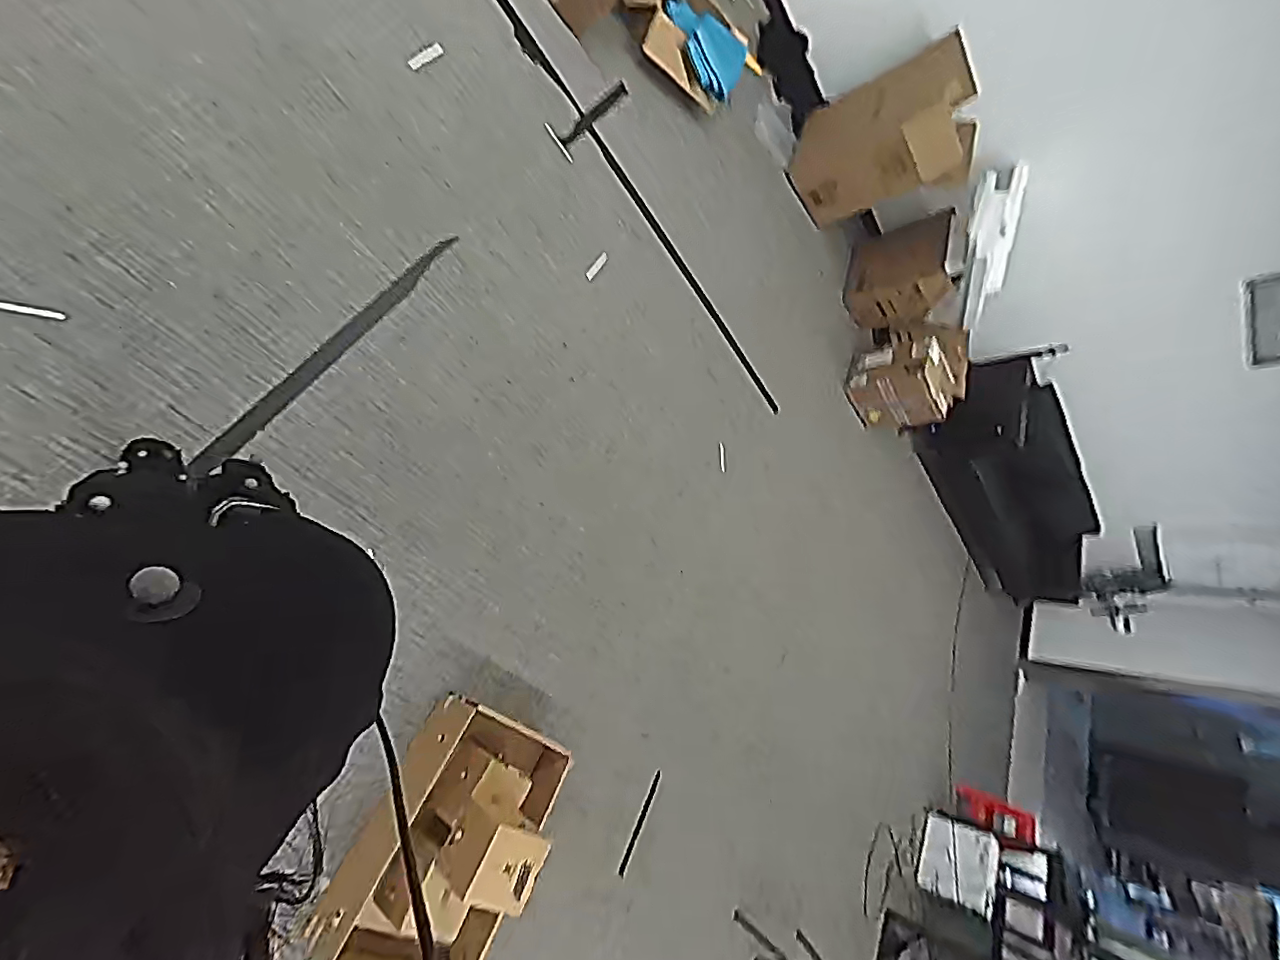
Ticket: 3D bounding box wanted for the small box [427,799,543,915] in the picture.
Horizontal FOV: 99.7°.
[{"bbox_3d":[-0.379,0.911,1.317,0.179,0.176,0.168,44,61,-32],"label":"small box"}]
